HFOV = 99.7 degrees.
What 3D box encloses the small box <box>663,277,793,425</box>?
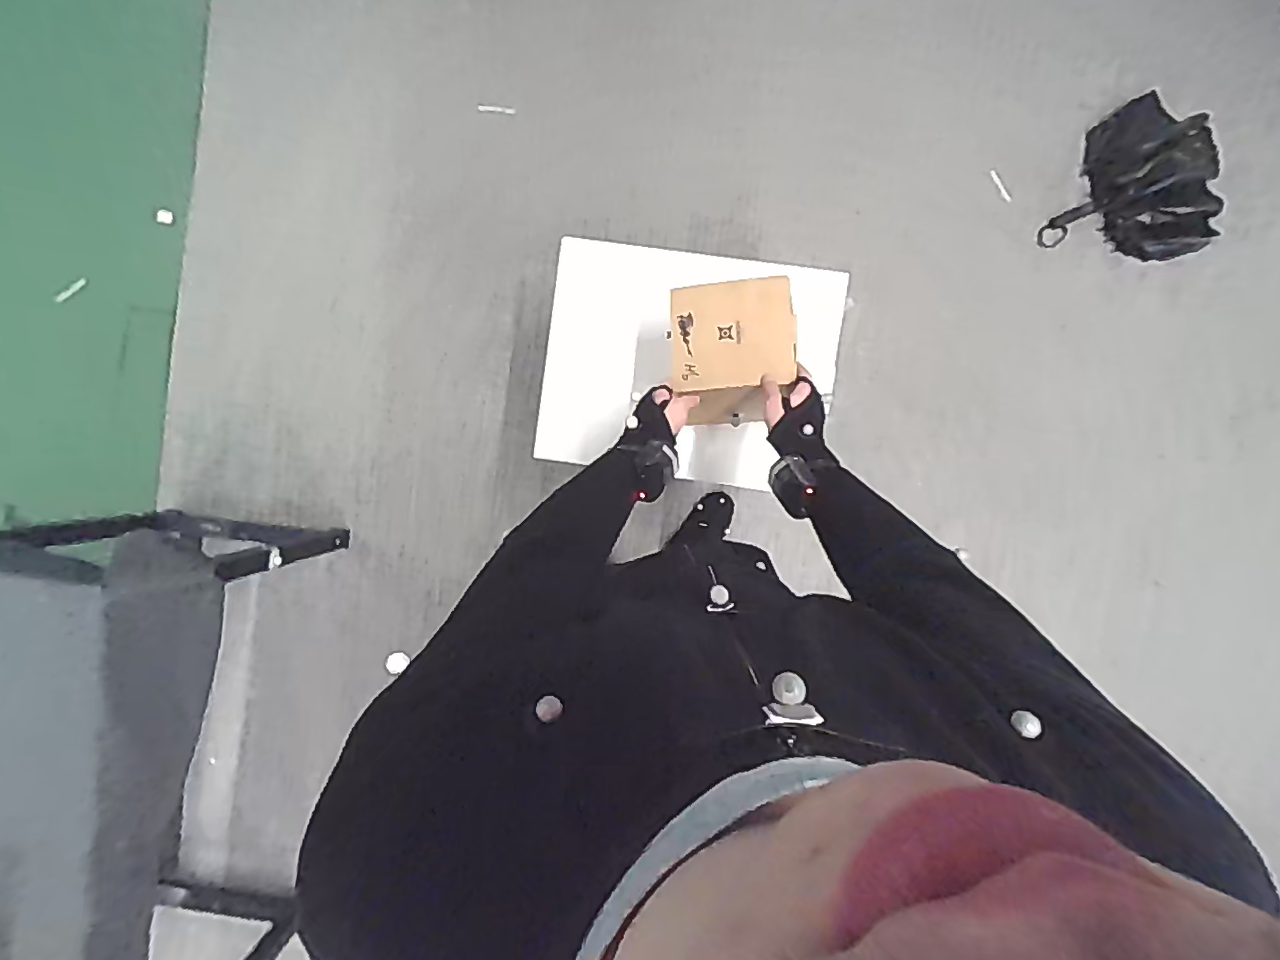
[{"bbox_3d":[0.130,-0.188,0.830,0.179,0.176,0.168,-2,78,8],"label":"small box"}]
